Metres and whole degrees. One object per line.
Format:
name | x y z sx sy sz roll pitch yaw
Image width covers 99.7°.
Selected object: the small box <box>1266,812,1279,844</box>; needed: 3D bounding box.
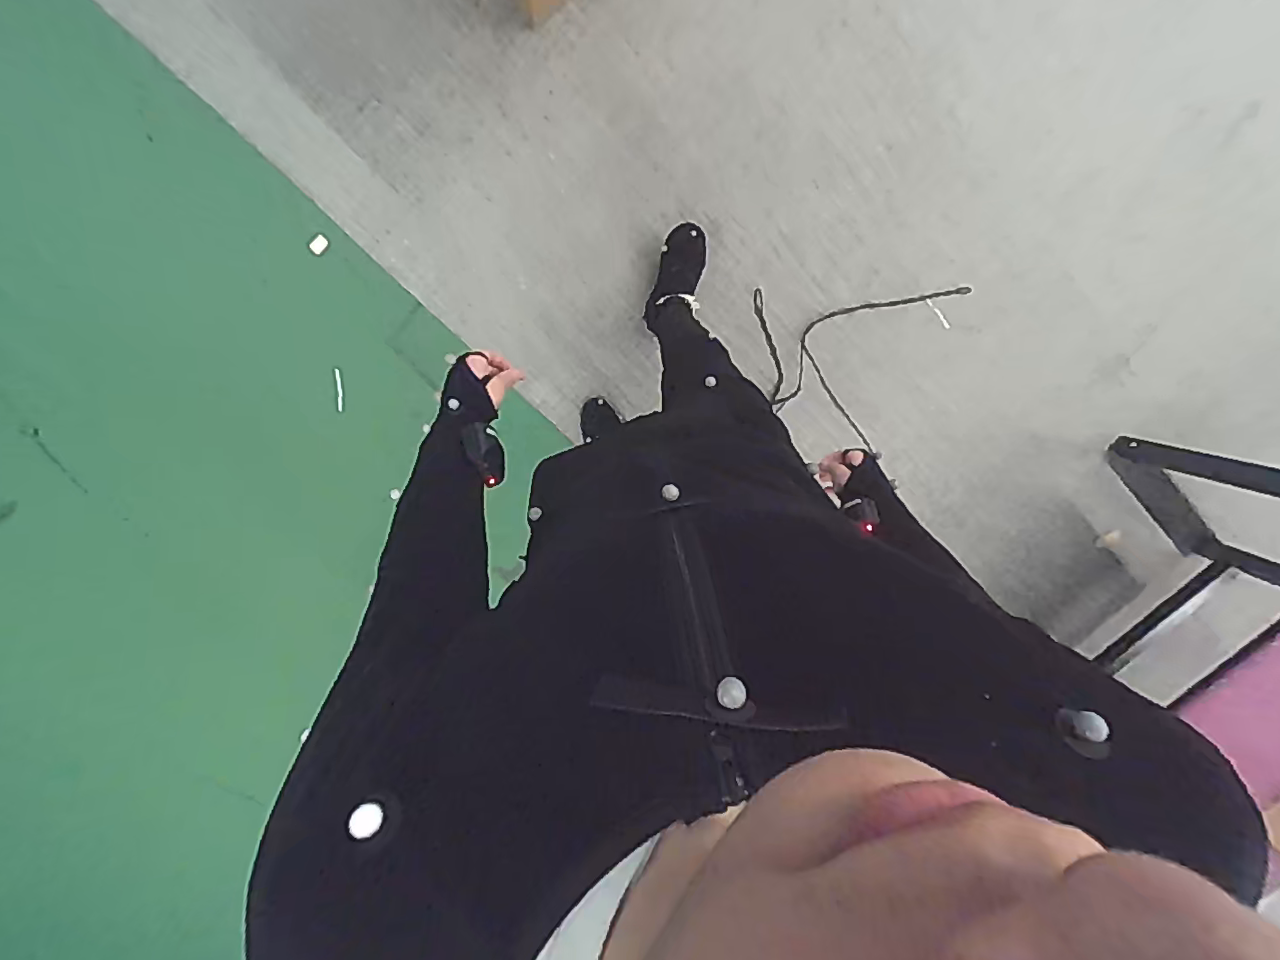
small box | 1.472 0.767 1.101 0.179 0.176 0.168 41 99 -13
